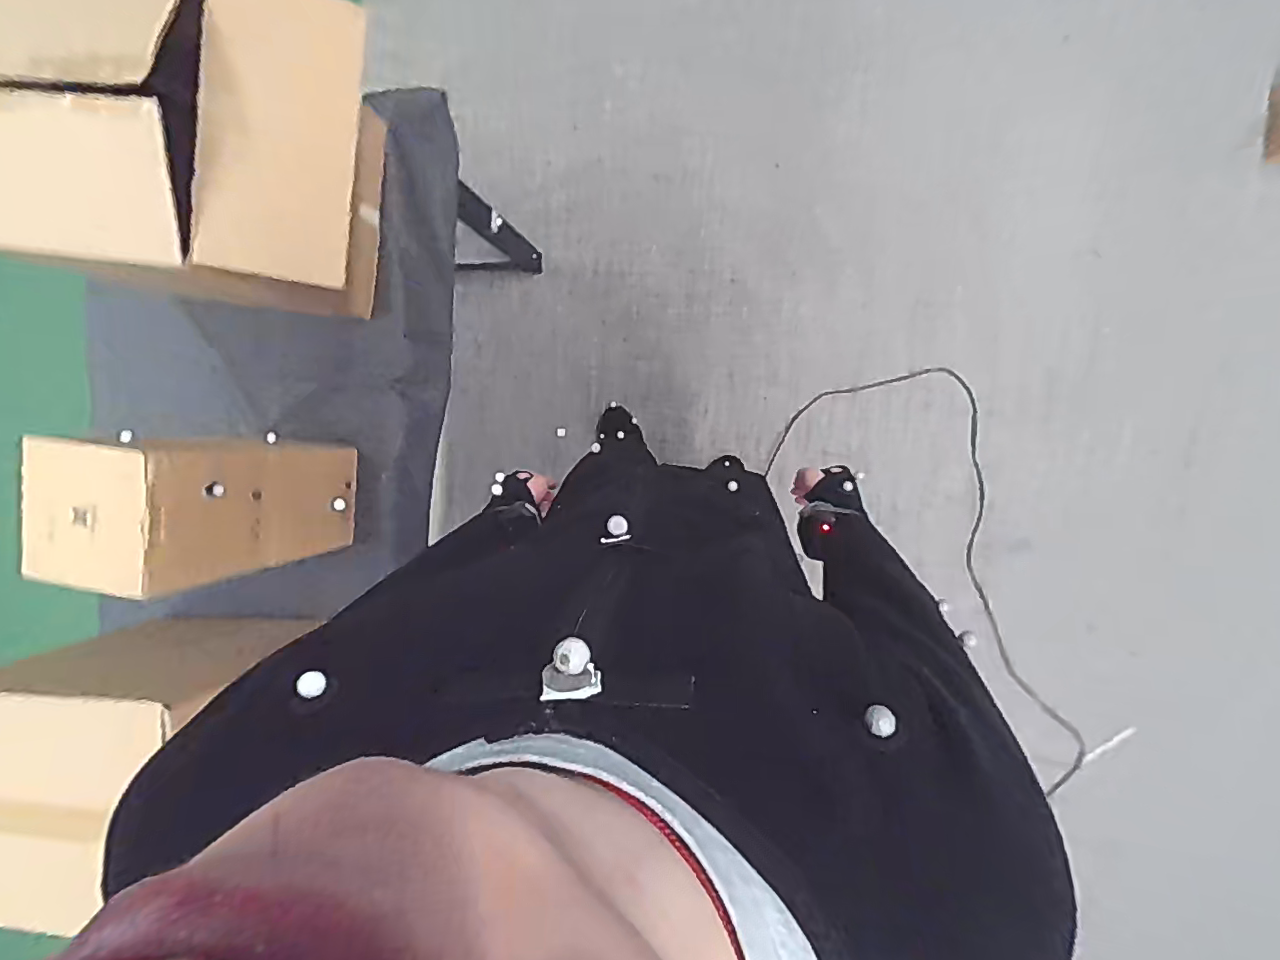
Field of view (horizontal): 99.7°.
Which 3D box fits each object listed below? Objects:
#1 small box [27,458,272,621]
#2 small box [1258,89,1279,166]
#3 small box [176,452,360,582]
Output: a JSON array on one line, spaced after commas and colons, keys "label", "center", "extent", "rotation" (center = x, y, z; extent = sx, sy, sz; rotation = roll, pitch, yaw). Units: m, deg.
[{"label": "small box", "center": [-0.609, 0.063, 0.692], "extent": [0.179, 0.176, 0.168], "rotation": [6, 96, 11]}, {"label": "small box", "center": [1.487, -0.788, 1.142], "extent": [0.179, 0.176, 0.168], "rotation": [2, 95, 11]}, {"label": "small box", "center": [-0.578, 0.047, 0.850], "extent": [0.179, 0.176, 0.168], "rotation": [7, 97, 9]}]
